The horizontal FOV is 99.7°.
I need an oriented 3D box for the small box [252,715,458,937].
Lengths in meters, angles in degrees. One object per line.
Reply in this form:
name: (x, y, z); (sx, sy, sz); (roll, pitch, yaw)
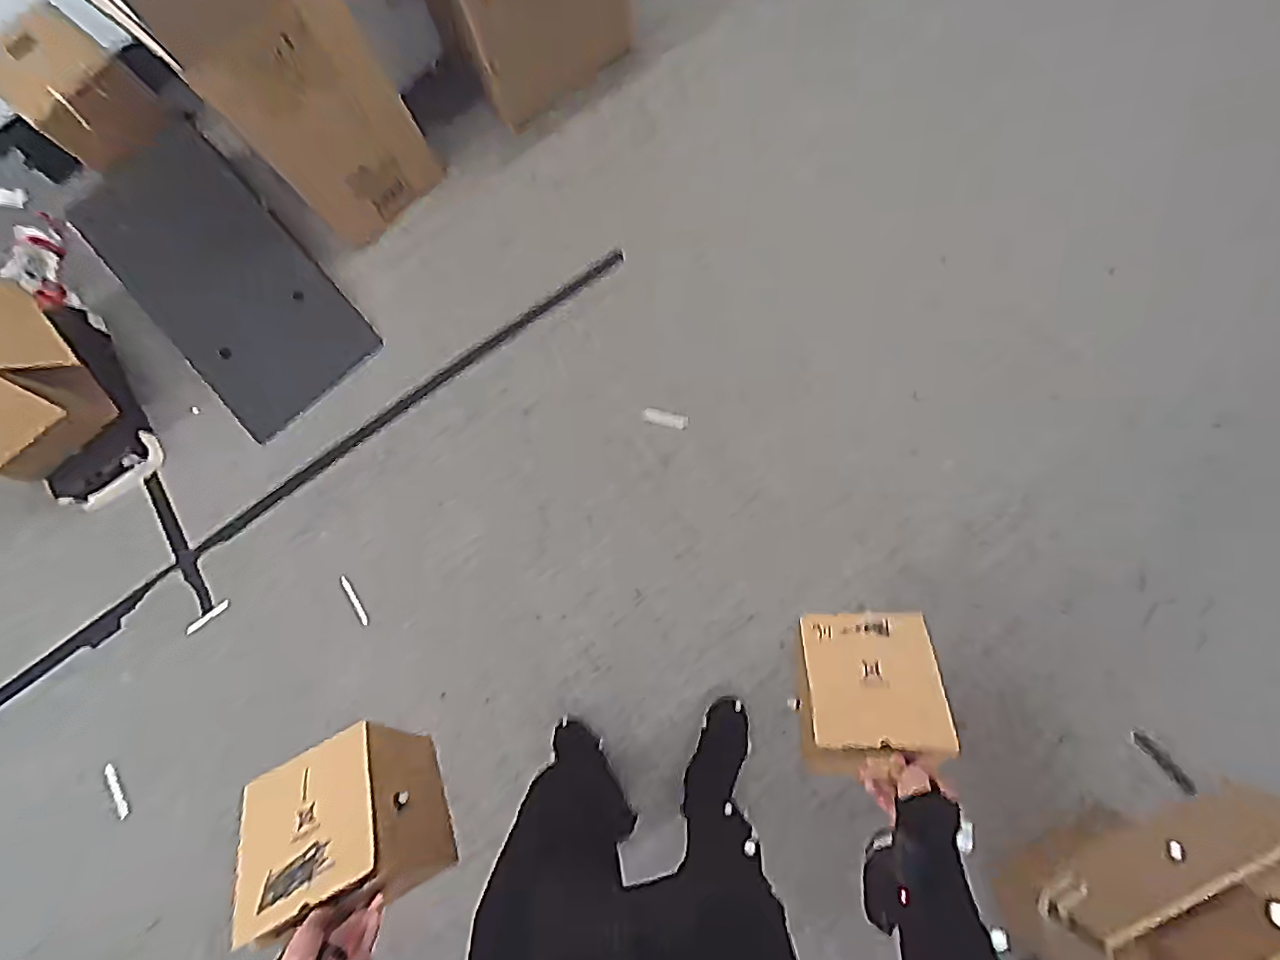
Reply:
small box: (-0.359, 0.437, 0.699); (0.168, 0.176, 0.179); (-27, 55, -4)

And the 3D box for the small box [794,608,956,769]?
small box: (0.311, 0.295, 0.759); (0.168, 0.176, 0.179); (-3, 51, 9)
